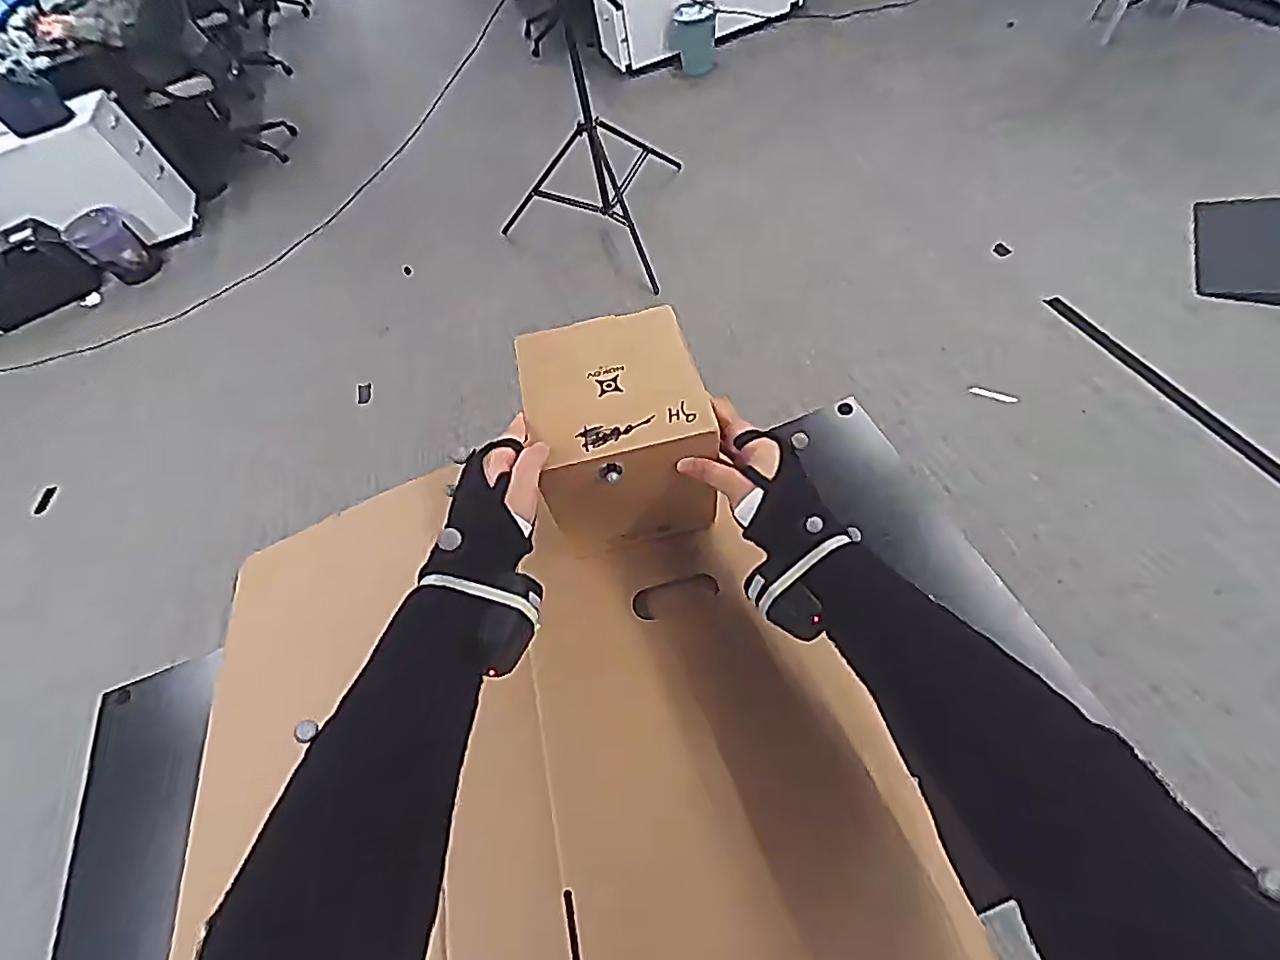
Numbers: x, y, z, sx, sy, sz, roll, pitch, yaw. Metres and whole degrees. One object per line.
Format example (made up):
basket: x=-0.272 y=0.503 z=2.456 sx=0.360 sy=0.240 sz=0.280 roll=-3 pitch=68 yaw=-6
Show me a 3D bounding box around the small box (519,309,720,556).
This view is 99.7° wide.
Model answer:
small box: x=-0.021 y=-0.046 z=0.570 sx=0.168 sy=0.176 sz=0.179 roll=-13 pitch=55 yaw=-2
